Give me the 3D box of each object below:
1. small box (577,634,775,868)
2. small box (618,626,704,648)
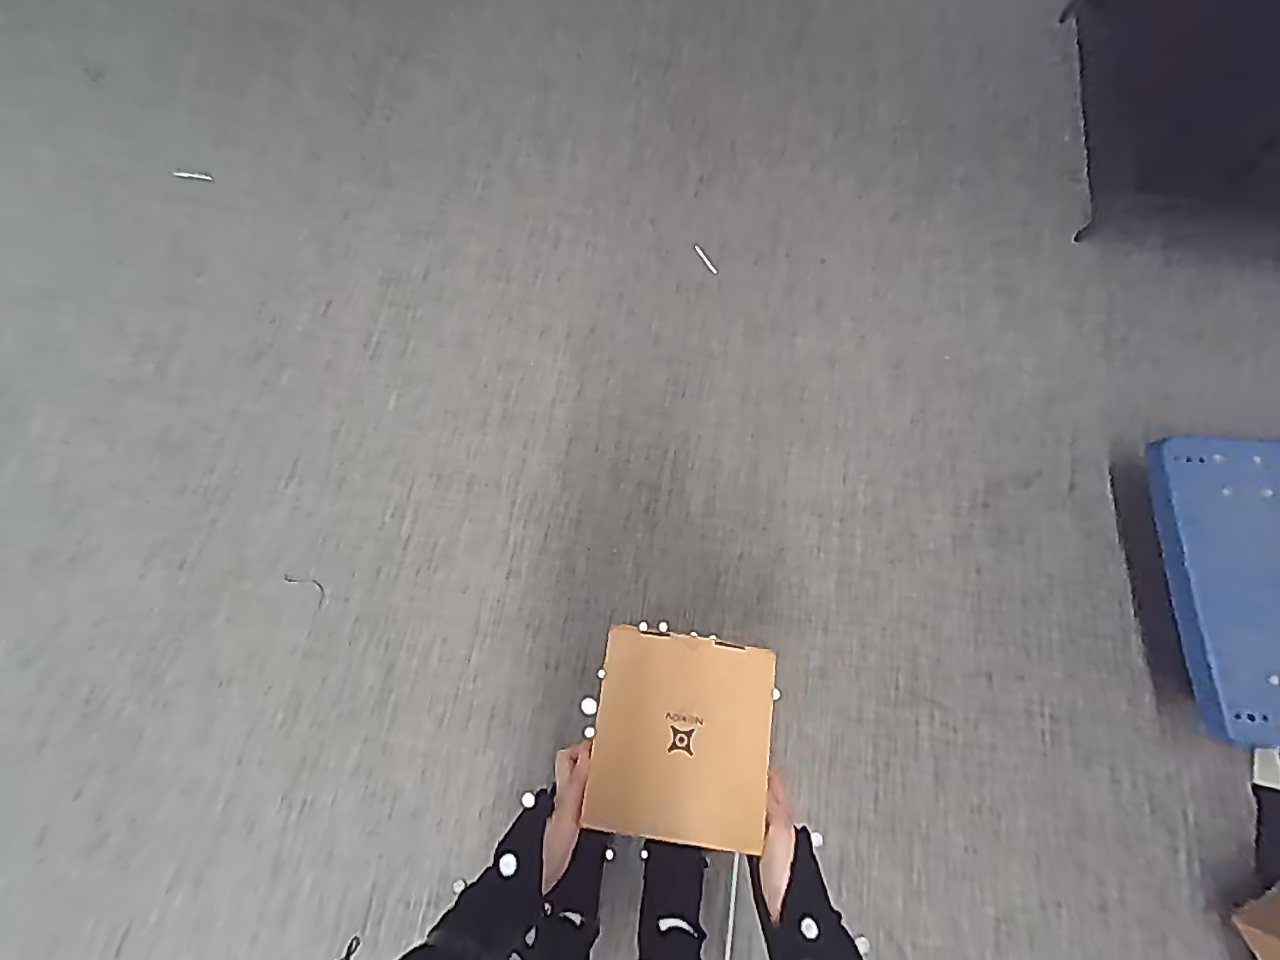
[{"bbox_3d":[0.036,0.269,0.572,0.168,0.176,0.179,8,70,1],"label":"small box"},{"bbox_3d":[0.025,0.390,1.057,0.168,0.176,0.179,10,74,2],"label":"small box"}]
